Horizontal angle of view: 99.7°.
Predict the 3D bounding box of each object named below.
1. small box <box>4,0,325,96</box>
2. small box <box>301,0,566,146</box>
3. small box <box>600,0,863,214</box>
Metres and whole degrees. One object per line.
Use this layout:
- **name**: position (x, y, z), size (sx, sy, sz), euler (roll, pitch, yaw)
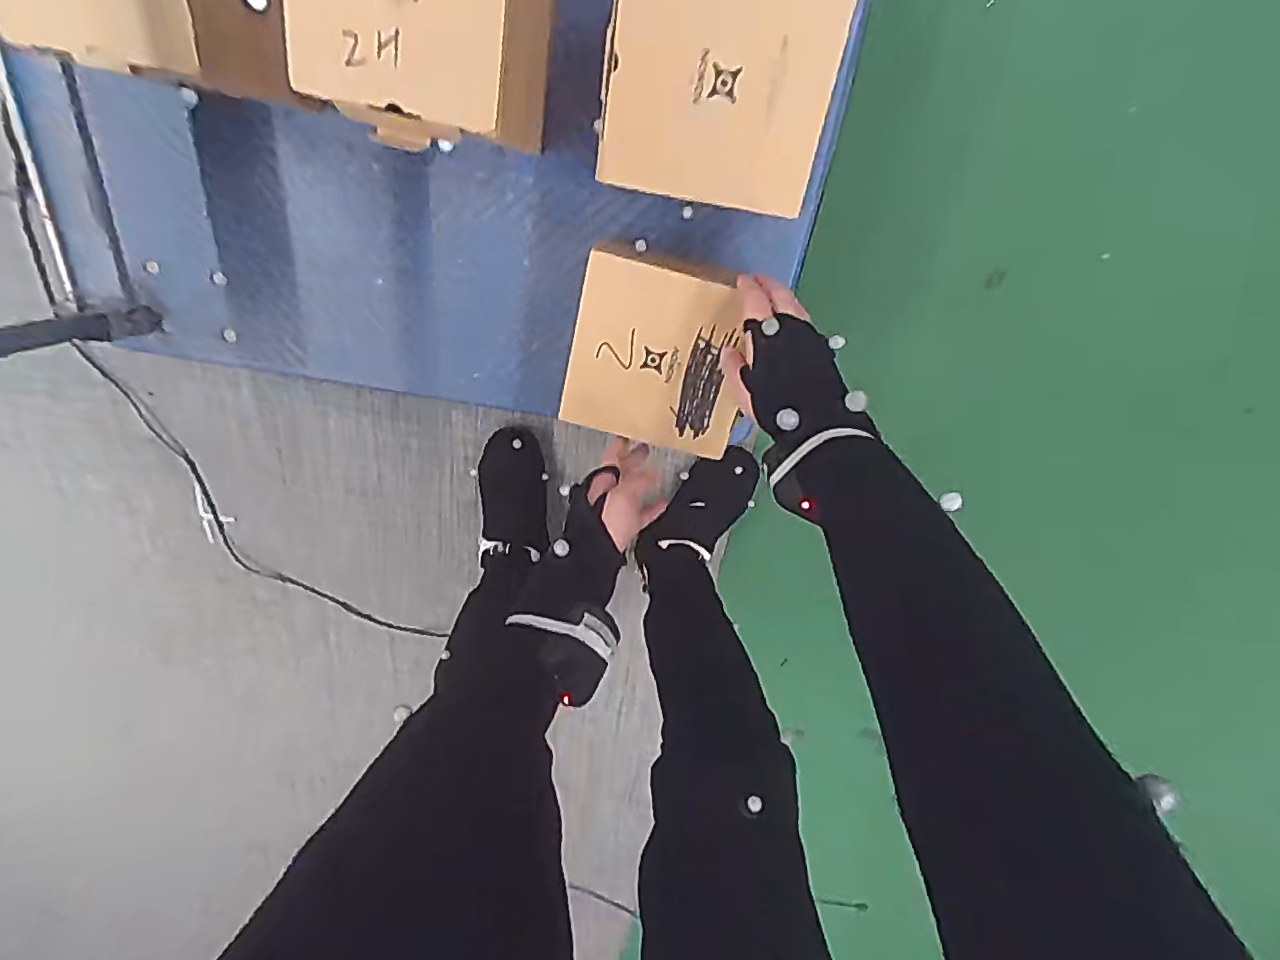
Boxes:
- **small box**: position (-0.397, -0.455, 0.462), size (0.168, 0.176, 0.179), euler (11, 118, -2)
- **small box**: position (-0.164, -0.415, 0.470), size (0.168, 0.176, 0.179), euler (13, 117, -3)
- **small box**: position (0.071, -0.347, 0.490), size (0.179, 0.176, 0.168), euler (11, 118, -2)
